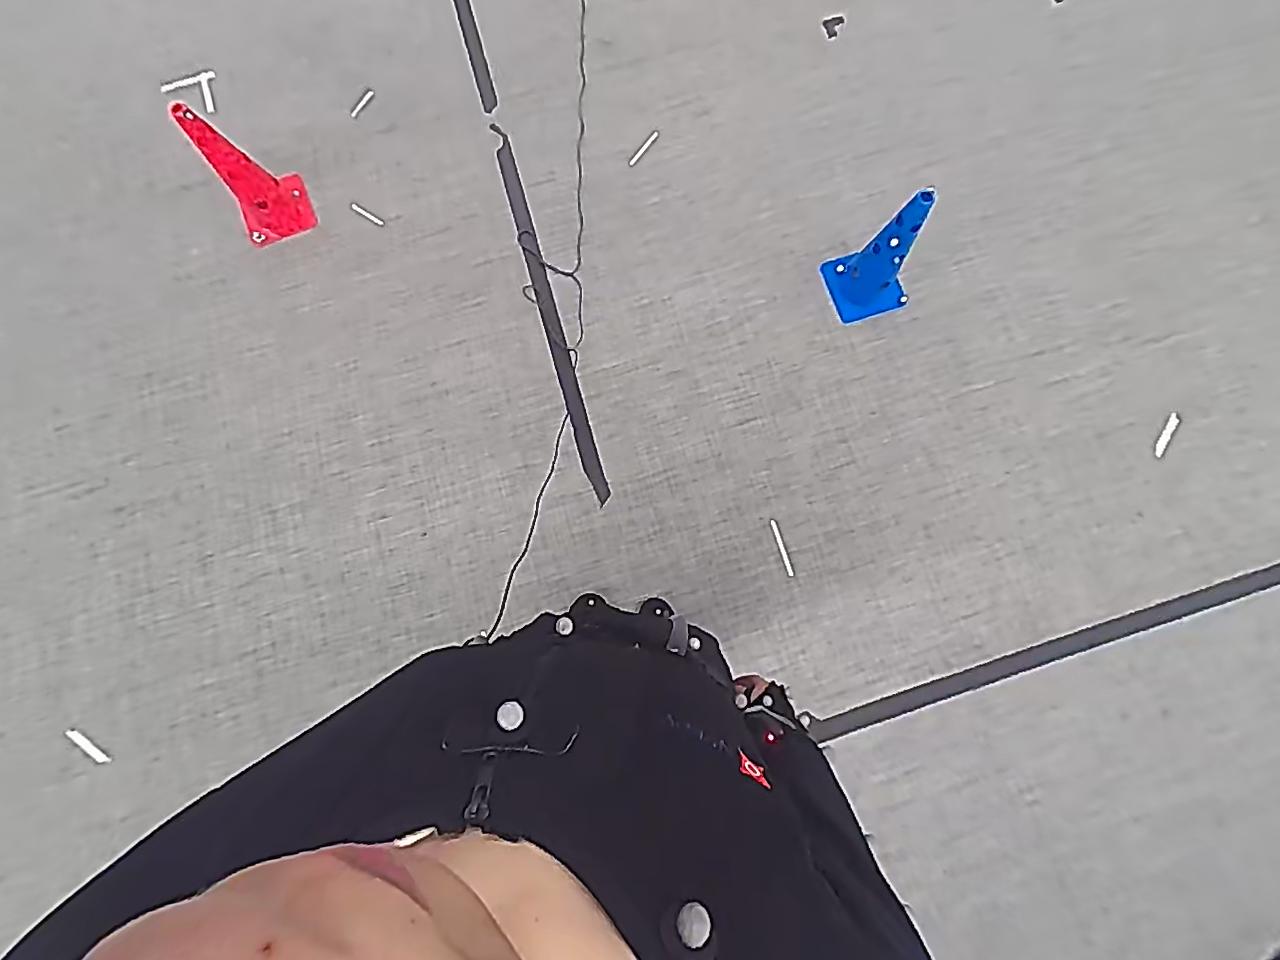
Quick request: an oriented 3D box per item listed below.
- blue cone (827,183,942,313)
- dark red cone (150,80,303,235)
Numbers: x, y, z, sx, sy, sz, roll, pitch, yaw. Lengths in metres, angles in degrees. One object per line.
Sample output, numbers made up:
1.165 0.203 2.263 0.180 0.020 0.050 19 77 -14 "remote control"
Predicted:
0.639 -0.602 1.372 0.192 0.380 0.193 -16 79 -3 "blue cone"
-1.102 -0.856 1.425 0.201 0.394 0.202 -24 79 -5 "dark red cone"
